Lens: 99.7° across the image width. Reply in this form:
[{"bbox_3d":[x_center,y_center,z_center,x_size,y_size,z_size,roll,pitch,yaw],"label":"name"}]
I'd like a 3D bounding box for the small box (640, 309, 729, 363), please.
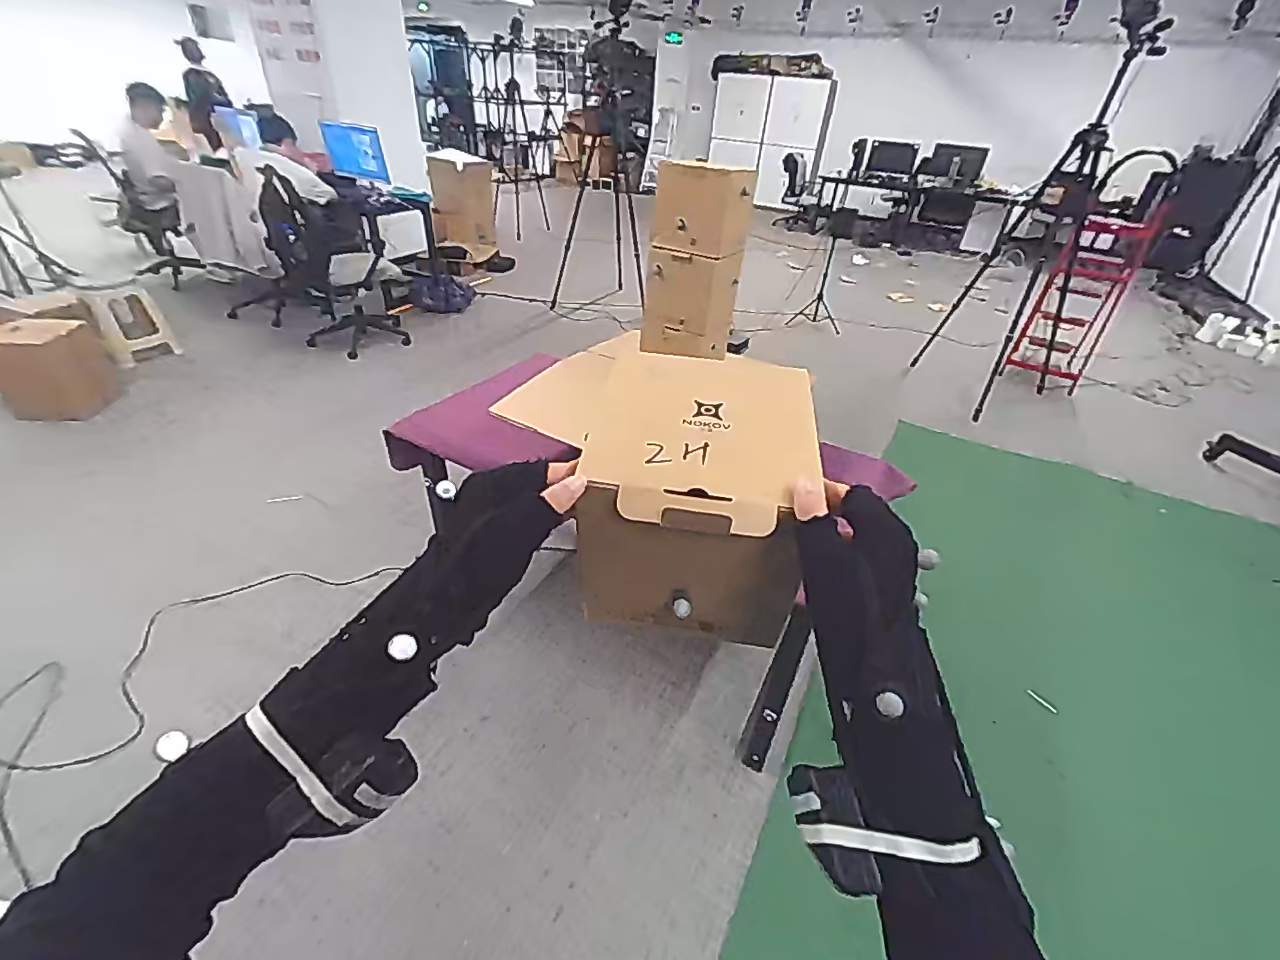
[{"bbox_3d":[0.109,-0.317,1.371,0.168,0.176,0.179,22,36,22],"label":"small box"}]

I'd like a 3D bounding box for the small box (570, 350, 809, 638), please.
[{"bbox_3d":[0.041,0.010,0.475,0.168,0.176,0.179,7,43,6],"label":"small box"}]

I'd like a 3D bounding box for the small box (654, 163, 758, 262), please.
[{"bbox_3d":[0.142,-0.593,1.197,0.168,0.176,0.179,21,35,21],"label":"small box"}]
